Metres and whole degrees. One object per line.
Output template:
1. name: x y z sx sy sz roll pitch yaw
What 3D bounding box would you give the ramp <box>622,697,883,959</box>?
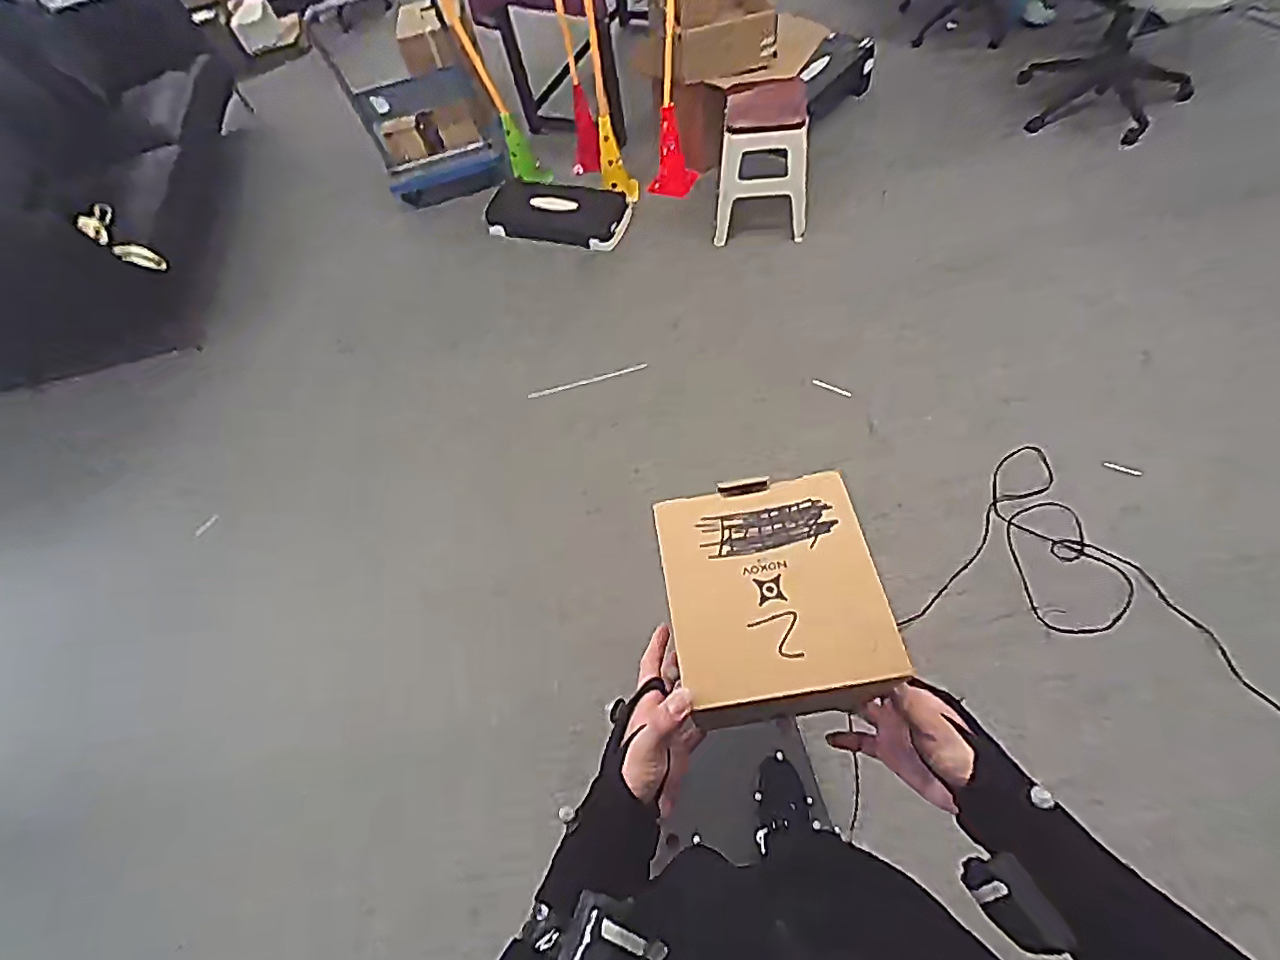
1. ramp: 0.266 1.033 1.183 0.509 0.206 0.991 -17 60 2
